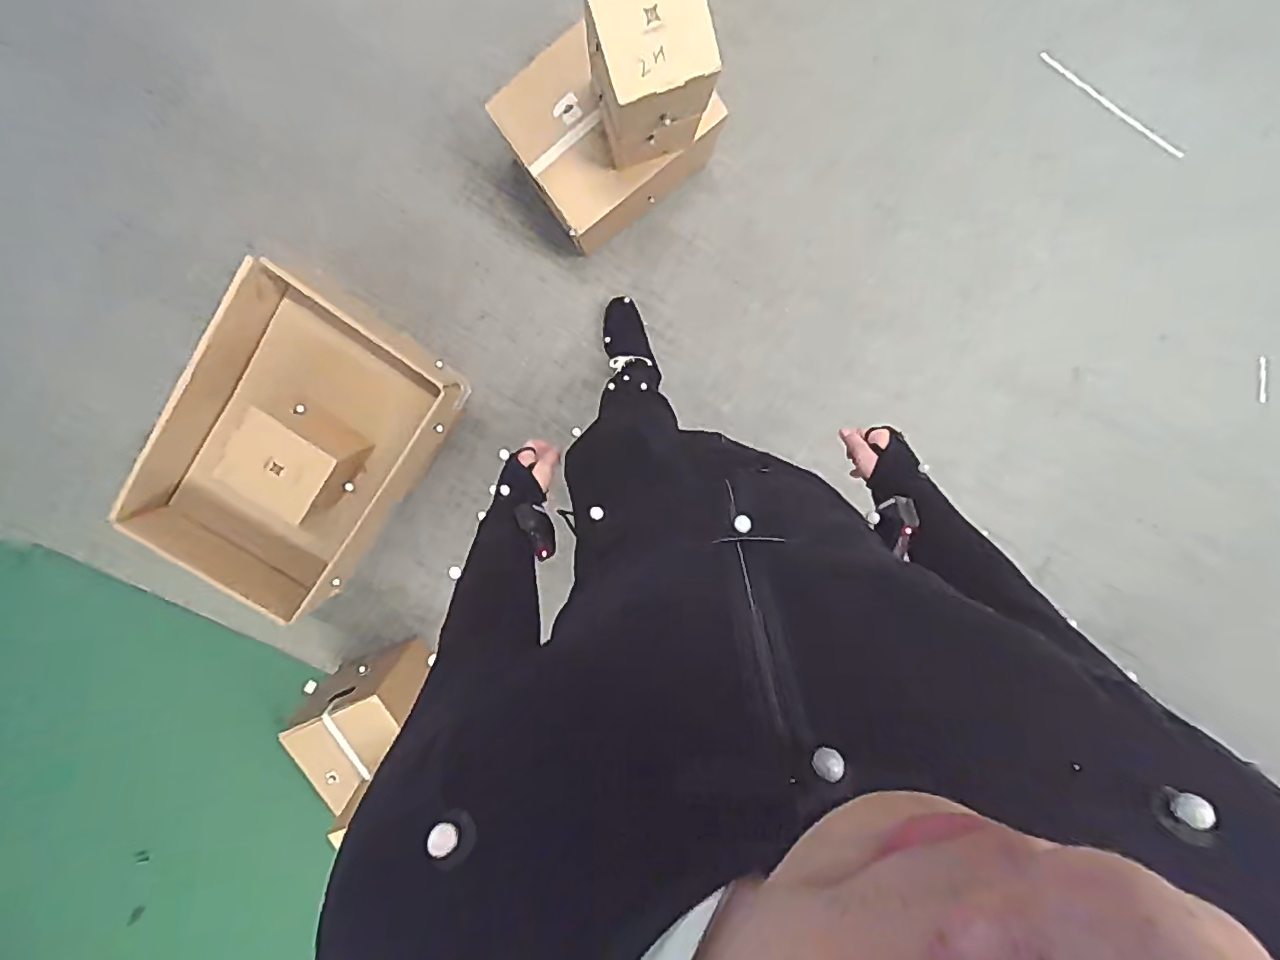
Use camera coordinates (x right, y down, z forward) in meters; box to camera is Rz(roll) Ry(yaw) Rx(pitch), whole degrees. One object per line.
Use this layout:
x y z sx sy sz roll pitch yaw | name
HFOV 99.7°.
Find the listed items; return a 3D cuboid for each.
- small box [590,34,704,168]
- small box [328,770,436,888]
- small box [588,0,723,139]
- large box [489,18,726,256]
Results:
0.011 -0.726 1.019 0.168 0.176 0.179 -17 105 3 | small box
-0.651 0.893 1.399 0.179 0.176 0.168 -21 103 3 | small box
0.019 -0.686 0.859 0.168 0.176 0.179 -18 106 3 | small box
-0.068 -0.792 1.253 0.408 0.320 0.320 -36 102 8 | large box
